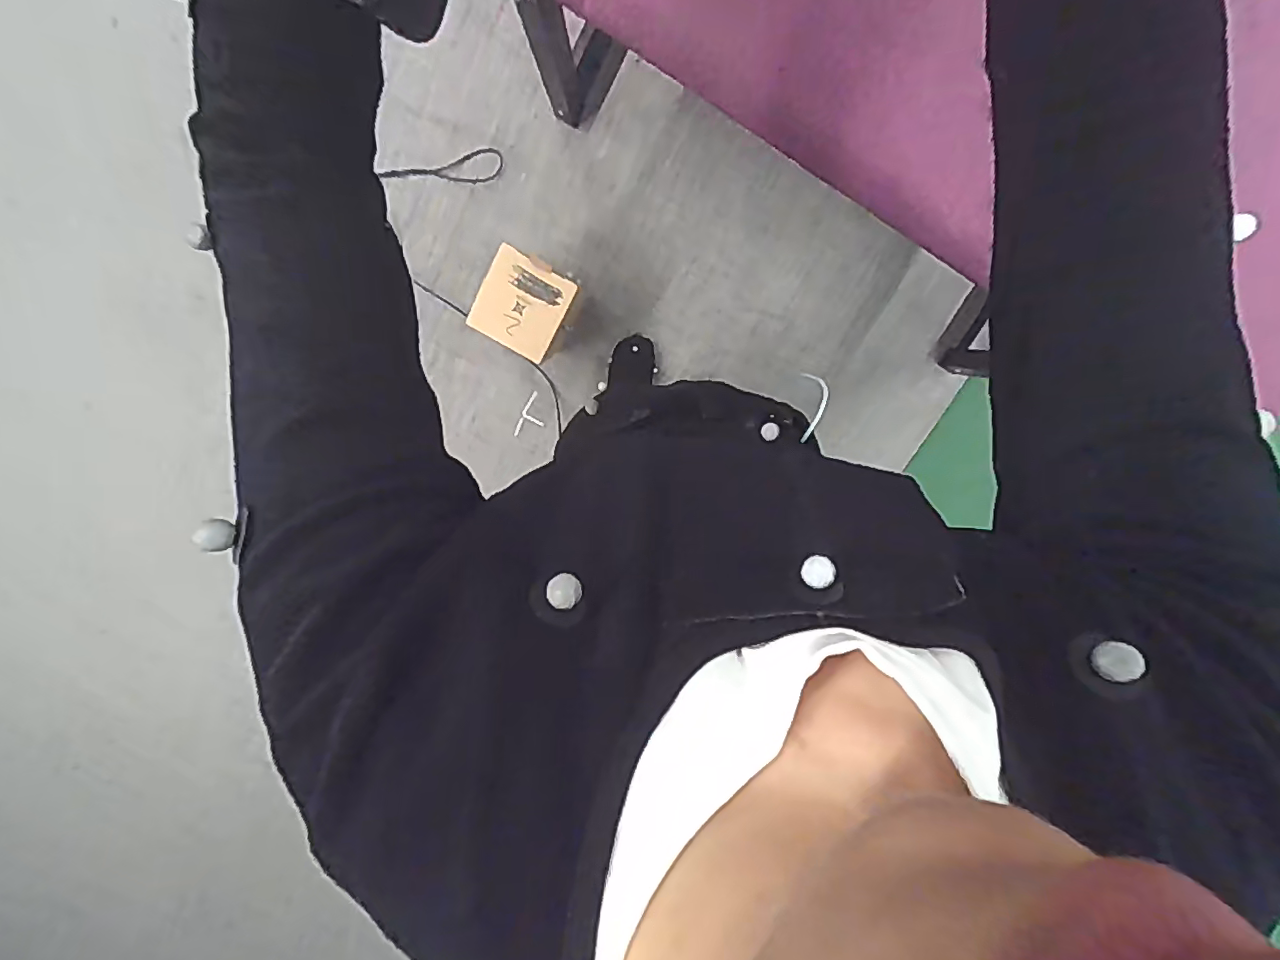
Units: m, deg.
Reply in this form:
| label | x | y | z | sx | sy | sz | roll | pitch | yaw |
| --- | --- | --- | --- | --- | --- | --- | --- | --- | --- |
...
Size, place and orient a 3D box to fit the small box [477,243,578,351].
| label | x | y | z | sx | sy | sz | roll | pitch | yaw |
| --- | --- | --- | --- | --- | --- | --- | --- | --- | --- |
| small box | -0.258 | -0.430 | 1.285 | 0.168 | 0.176 | 0.179 | 30 | 104 | -9 |
